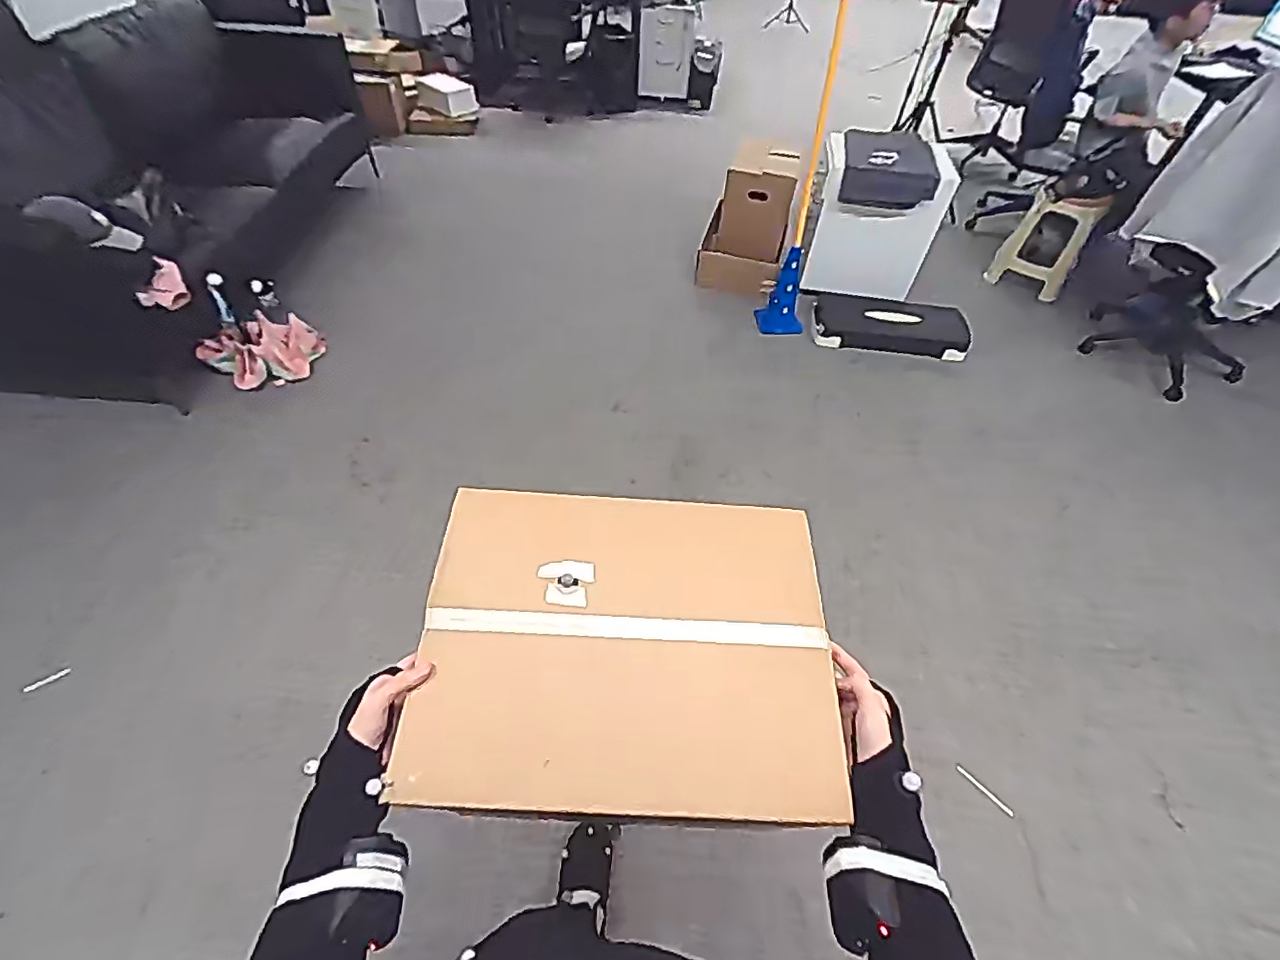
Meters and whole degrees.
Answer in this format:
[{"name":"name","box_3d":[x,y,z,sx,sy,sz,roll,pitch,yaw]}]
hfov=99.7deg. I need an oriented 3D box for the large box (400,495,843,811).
[{"name":"large box","box_3d":[-0.015,0.234,0.684,0.408,0.320,0.320,3,56,-1]}]
